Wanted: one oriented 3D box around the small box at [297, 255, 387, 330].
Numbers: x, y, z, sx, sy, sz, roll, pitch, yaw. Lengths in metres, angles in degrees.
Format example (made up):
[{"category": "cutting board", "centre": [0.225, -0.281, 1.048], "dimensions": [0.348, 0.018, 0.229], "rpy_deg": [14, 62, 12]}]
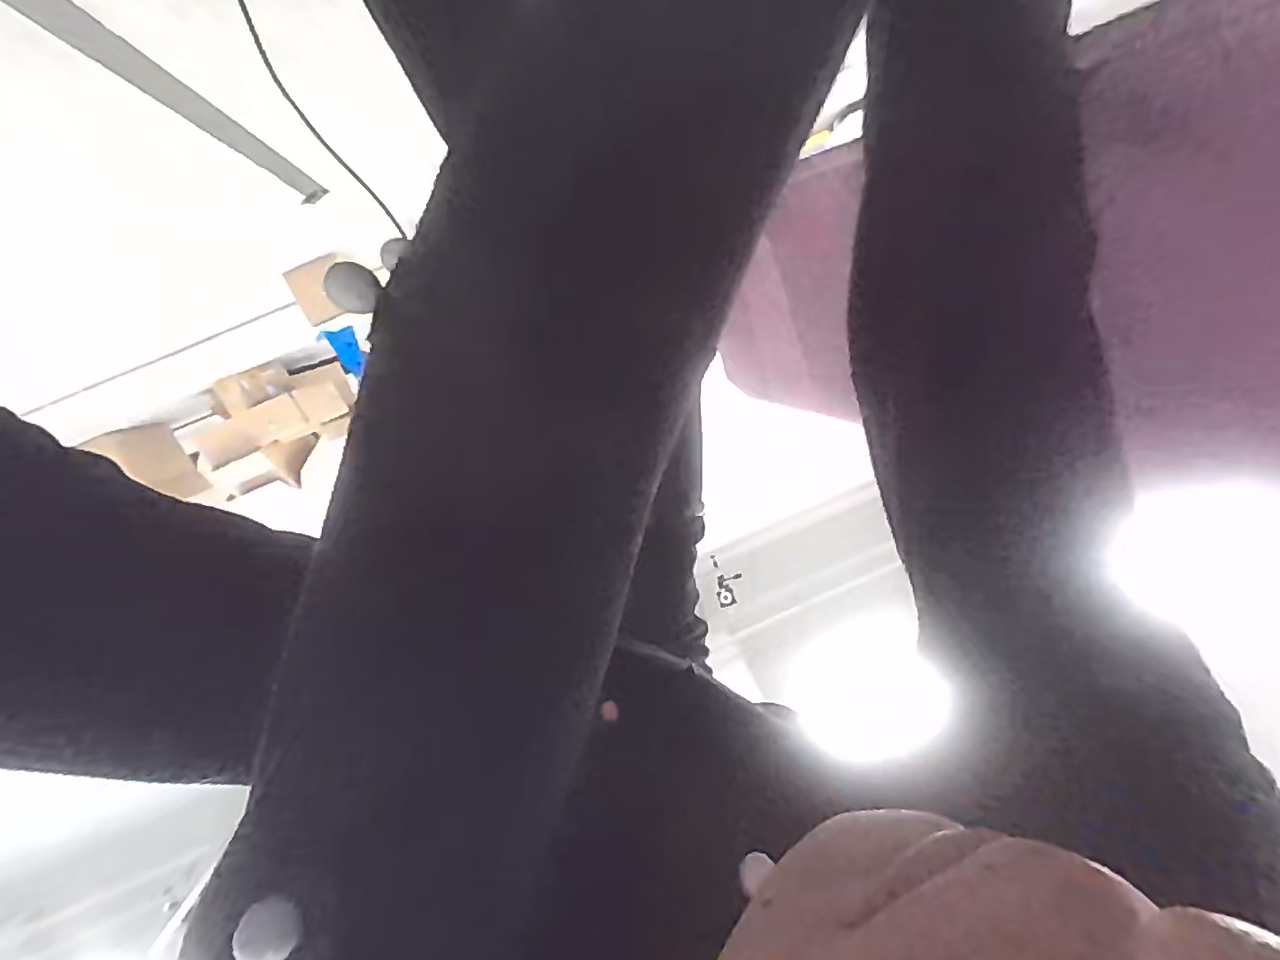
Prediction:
[{"category": "small box", "centre": [-0.958, -0.597, 1.733], "dimensions": [0.179, 0.176, 0.168], "rpy_deg": [-23, -165, 1]}]
